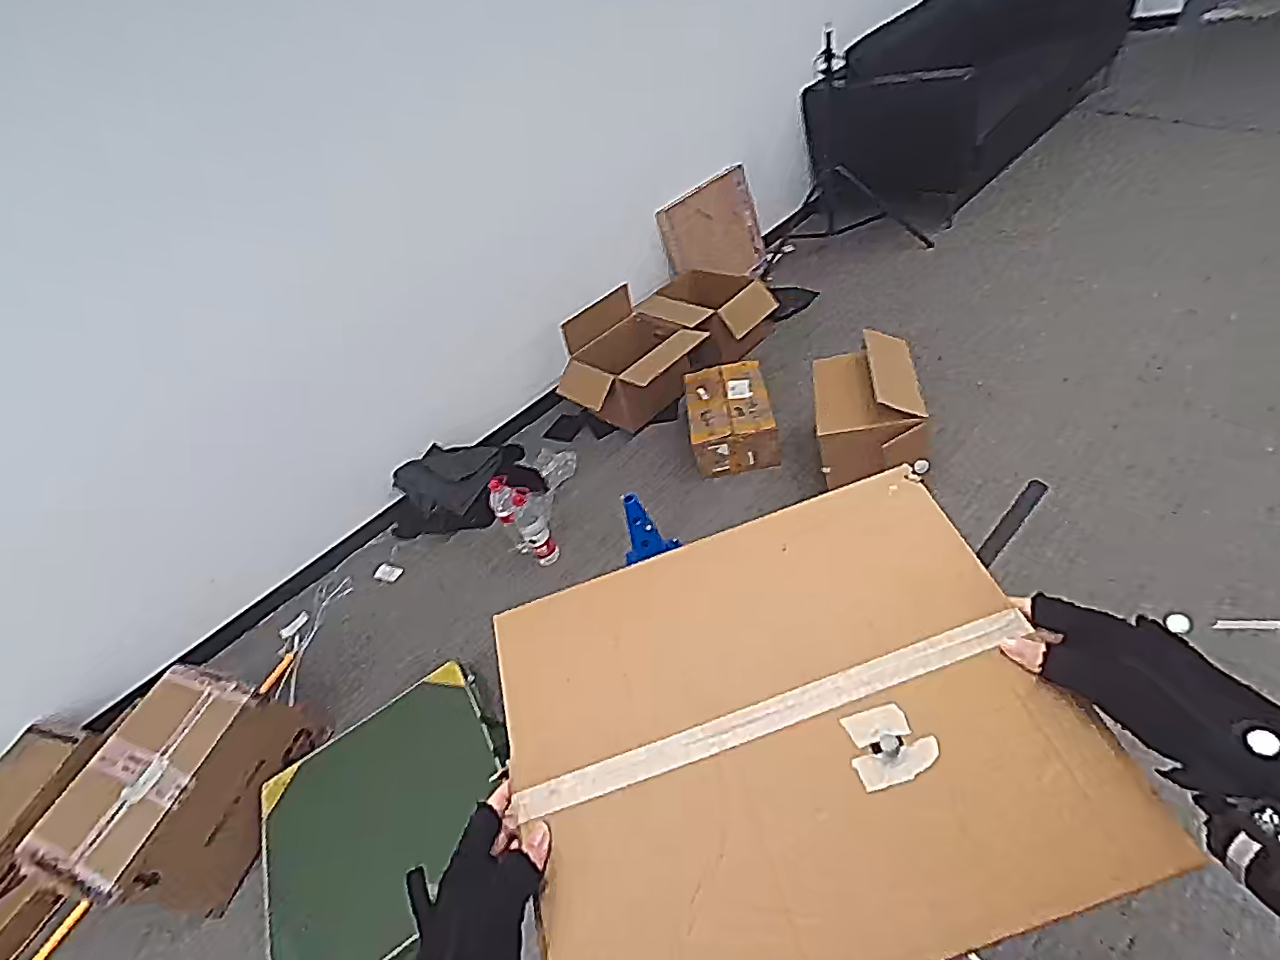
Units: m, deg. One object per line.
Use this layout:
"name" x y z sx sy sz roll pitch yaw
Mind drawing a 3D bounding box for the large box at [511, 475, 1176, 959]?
"large box" 0.136 0.262 0.540 0.408 0.320 0.320 -21 56 0
